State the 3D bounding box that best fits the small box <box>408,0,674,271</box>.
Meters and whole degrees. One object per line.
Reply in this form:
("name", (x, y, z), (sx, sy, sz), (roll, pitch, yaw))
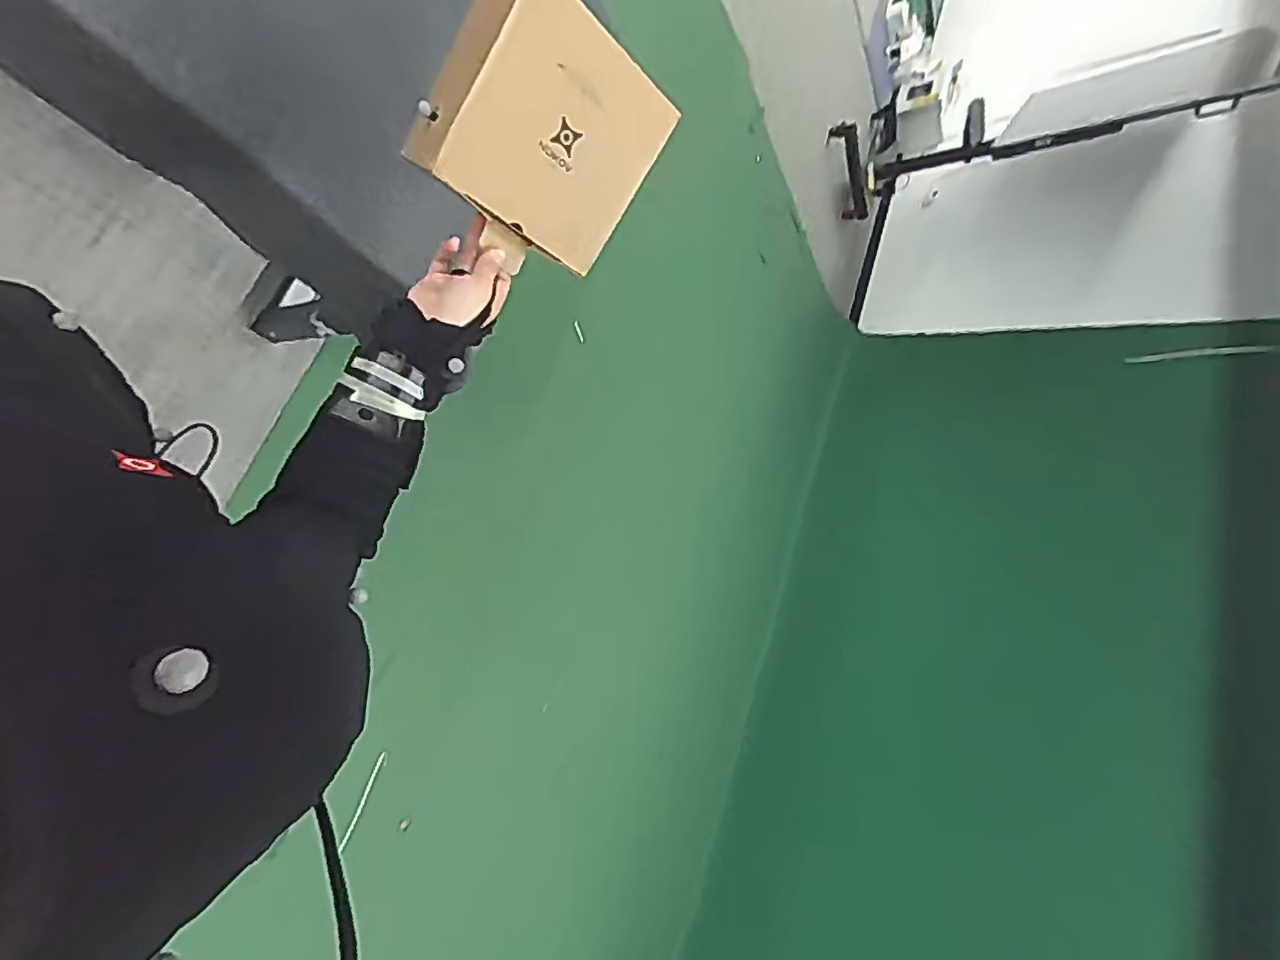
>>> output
("small box", (-0.106, -0.341, 0.525), (0.168, 0.176, 0.179), (22, 107, -42))
